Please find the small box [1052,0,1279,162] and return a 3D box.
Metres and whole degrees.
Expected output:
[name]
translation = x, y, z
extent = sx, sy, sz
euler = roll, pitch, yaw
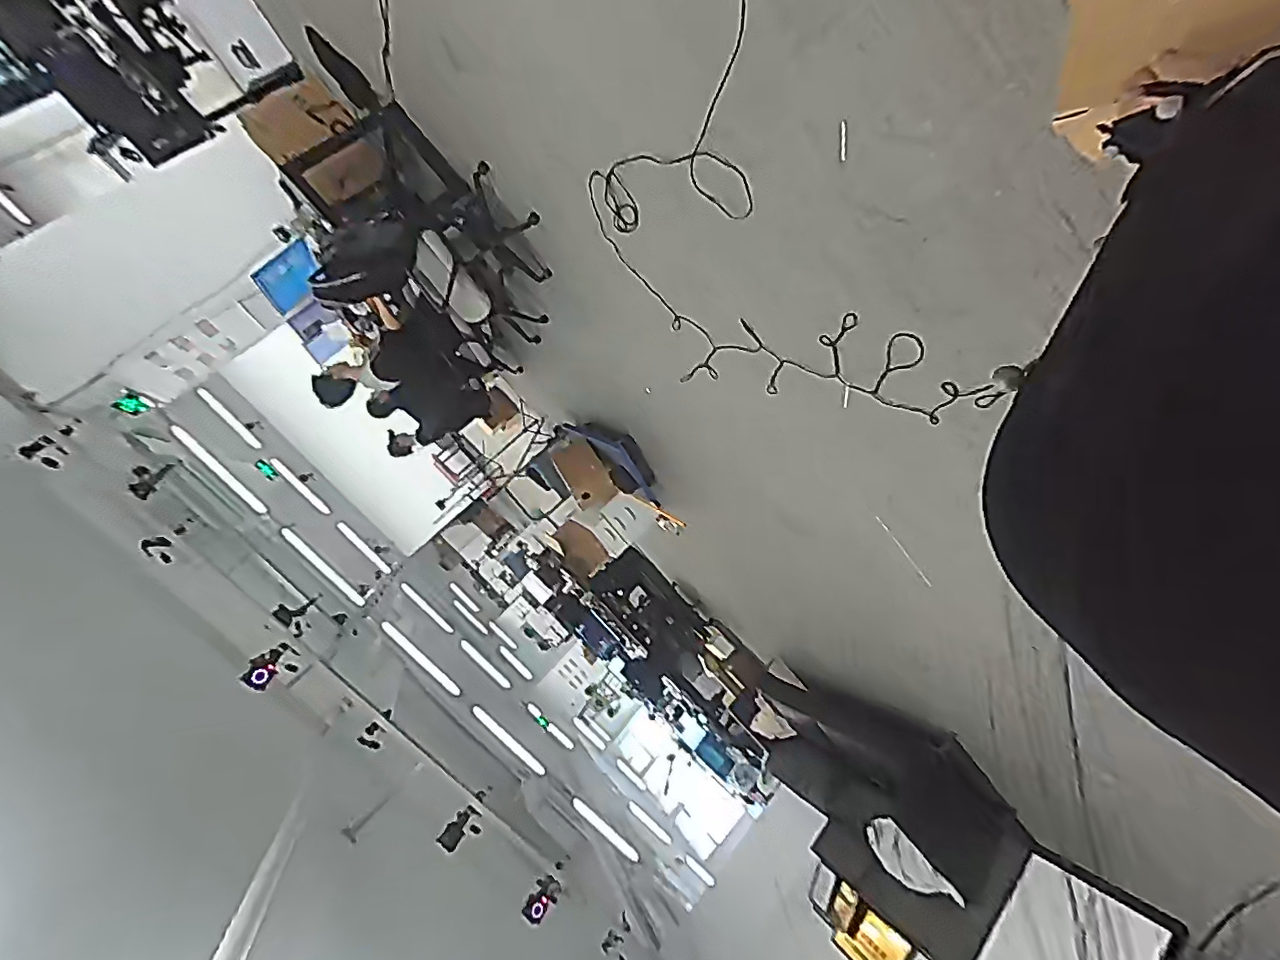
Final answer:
[small box]
translation = 0.533, -0.440, 0.523
extent = 0.168, 0.179, 0.176
euler = 17, 110, 48
